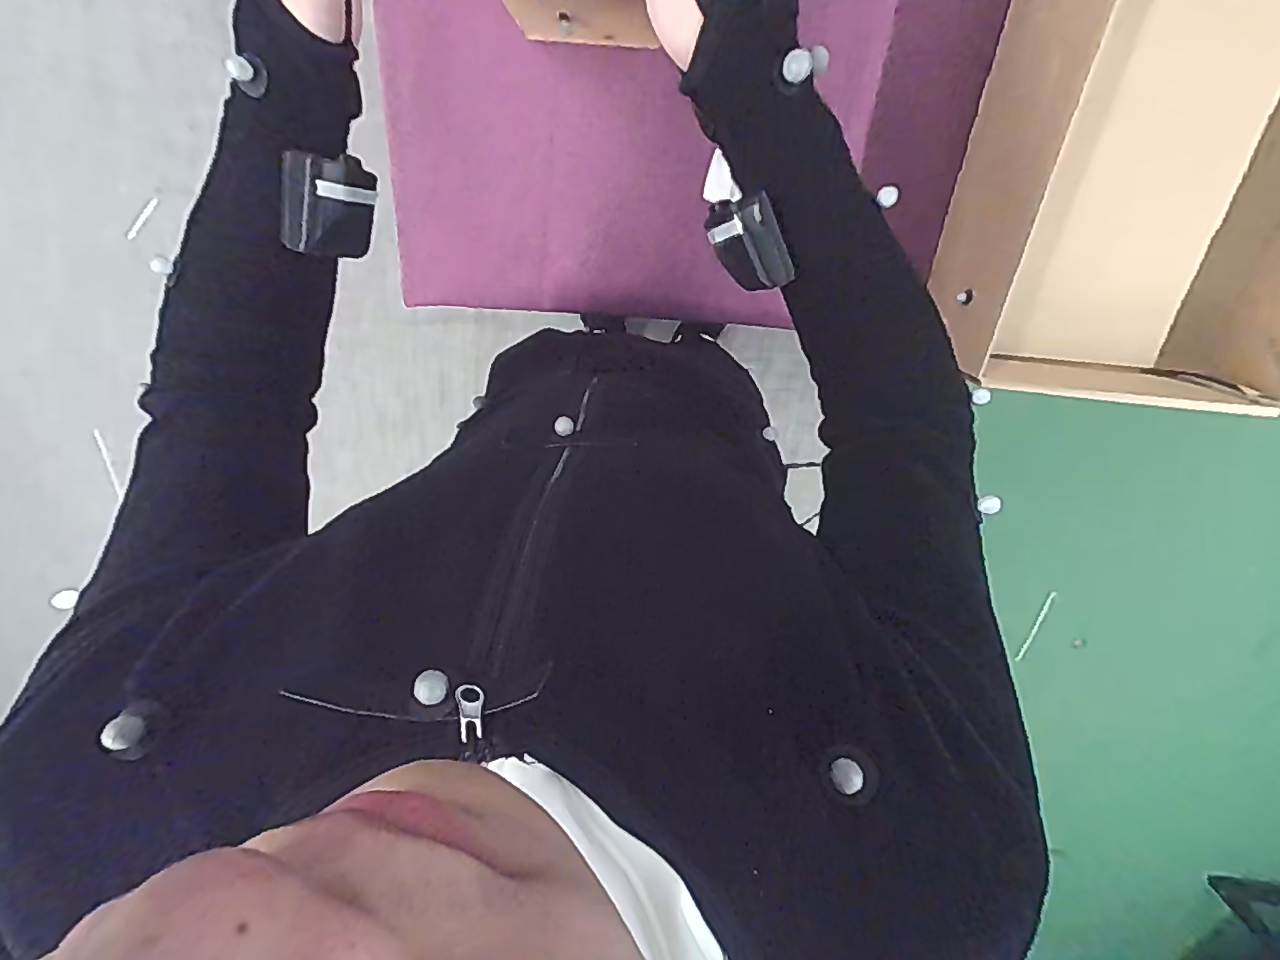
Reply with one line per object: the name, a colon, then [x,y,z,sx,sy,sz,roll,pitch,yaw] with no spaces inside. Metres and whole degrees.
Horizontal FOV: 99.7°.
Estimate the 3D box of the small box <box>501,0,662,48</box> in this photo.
small box: [-0.055,-0.582,0.563,0.168,0.176,0.179,4,114,-1]
